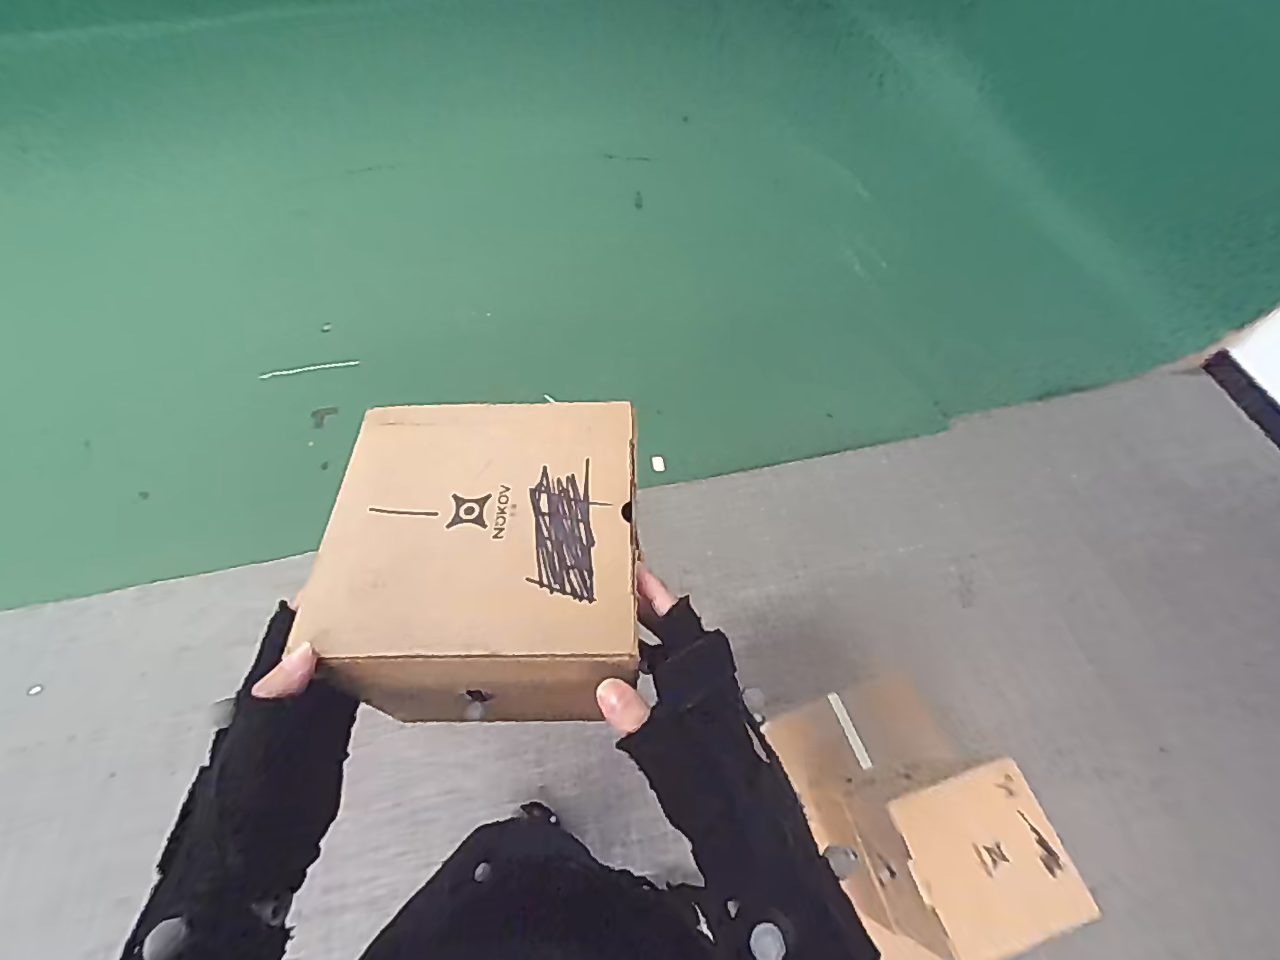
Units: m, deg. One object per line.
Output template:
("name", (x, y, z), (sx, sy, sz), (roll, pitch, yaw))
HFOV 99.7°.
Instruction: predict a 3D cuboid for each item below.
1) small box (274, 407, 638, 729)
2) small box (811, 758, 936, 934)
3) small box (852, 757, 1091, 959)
("small box", (-0.097, 0.067, 0.372), (0.179, 0.176, 0.168), (-2, 57, -4))
("small box", (0.388, 0.547, 0.833), (0.168, 0.176, 0.179), (-15, 64, -7))
("small box", (0.394, 0.469, 0.689), (0.179, 0.176, 0.168), (-15, 62, -6))
